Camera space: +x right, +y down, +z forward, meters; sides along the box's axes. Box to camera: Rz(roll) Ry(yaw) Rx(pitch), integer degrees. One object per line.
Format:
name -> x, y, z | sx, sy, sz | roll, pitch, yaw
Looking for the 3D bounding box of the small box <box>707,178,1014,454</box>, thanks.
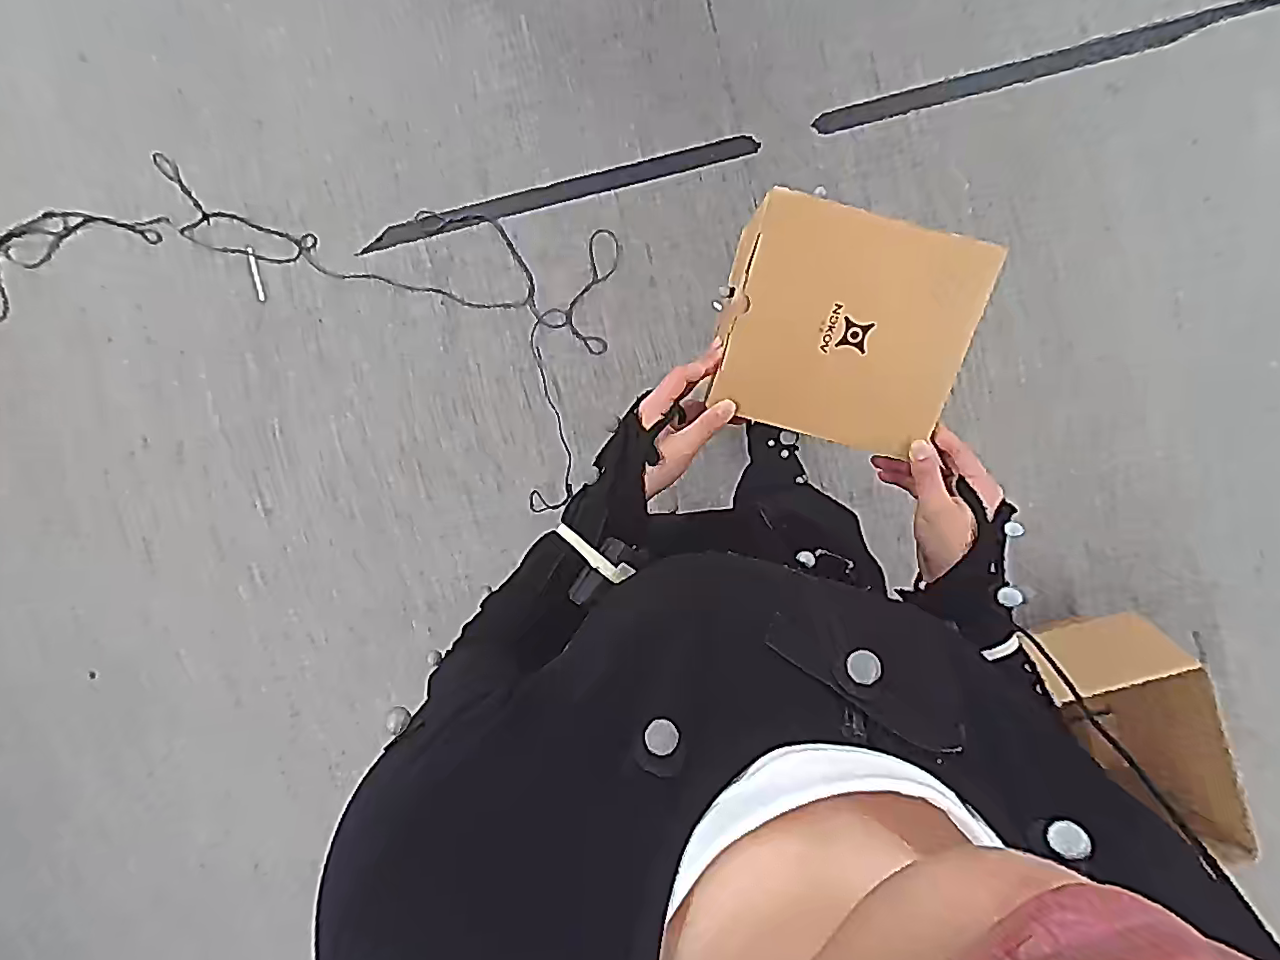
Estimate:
small box -> 0.165, -0.137, 0.474 | 0.179, 0.176, 0.168 | 14, 107, 1
